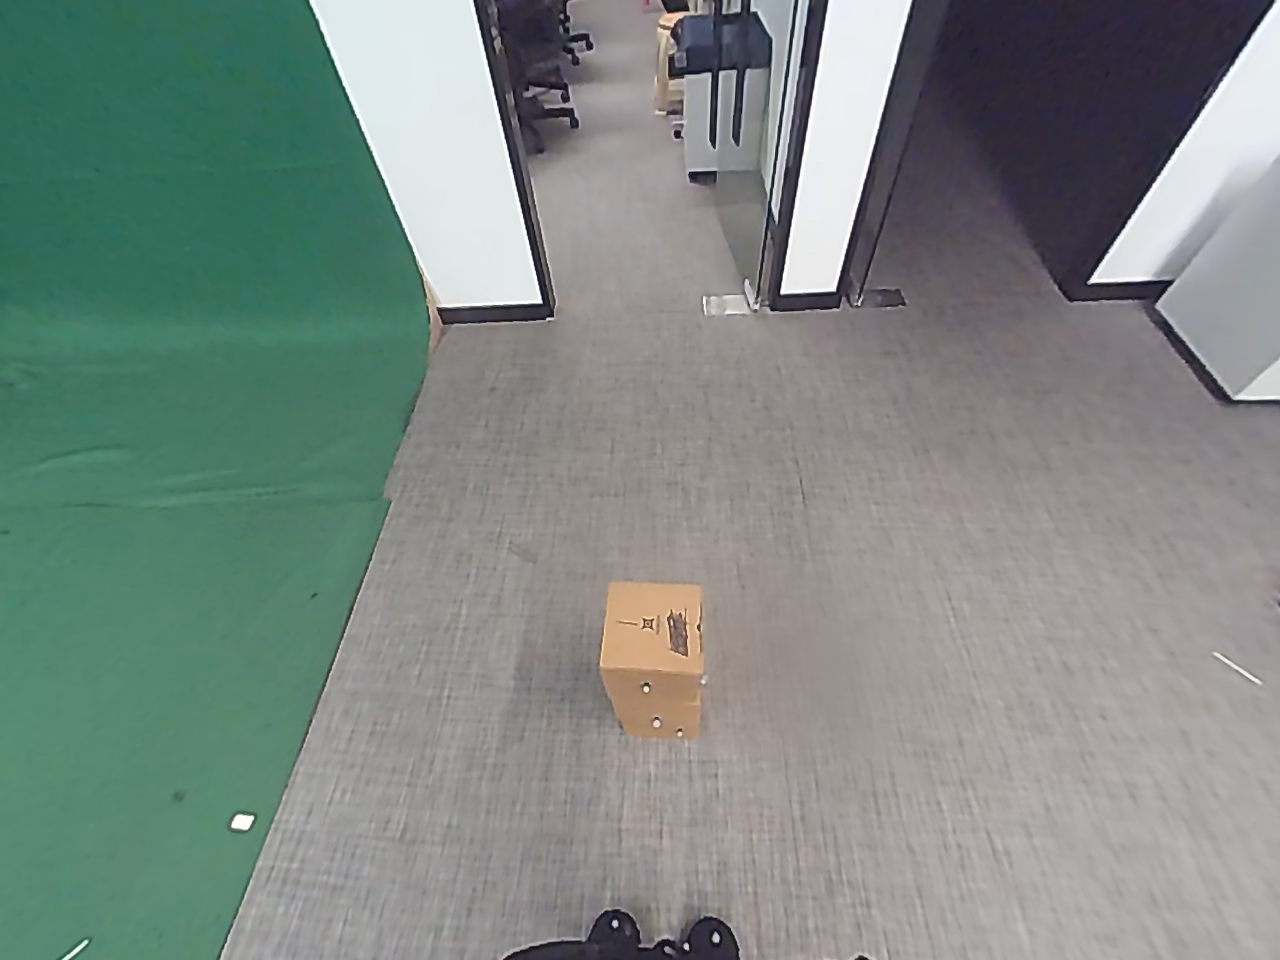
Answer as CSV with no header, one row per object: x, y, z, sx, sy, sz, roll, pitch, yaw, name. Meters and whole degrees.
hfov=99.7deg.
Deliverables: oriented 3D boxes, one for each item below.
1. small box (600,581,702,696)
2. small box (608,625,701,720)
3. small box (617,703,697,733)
0.023,0.306,1.033,0.179,0.176,0.168,1,53,3,small box
0.035,0.406,1.163,0.179,0.176,0.168,4,53,6,small box
0.046,0.499,1.297,0.179,0.176,0.168,-1,52,5,small box
